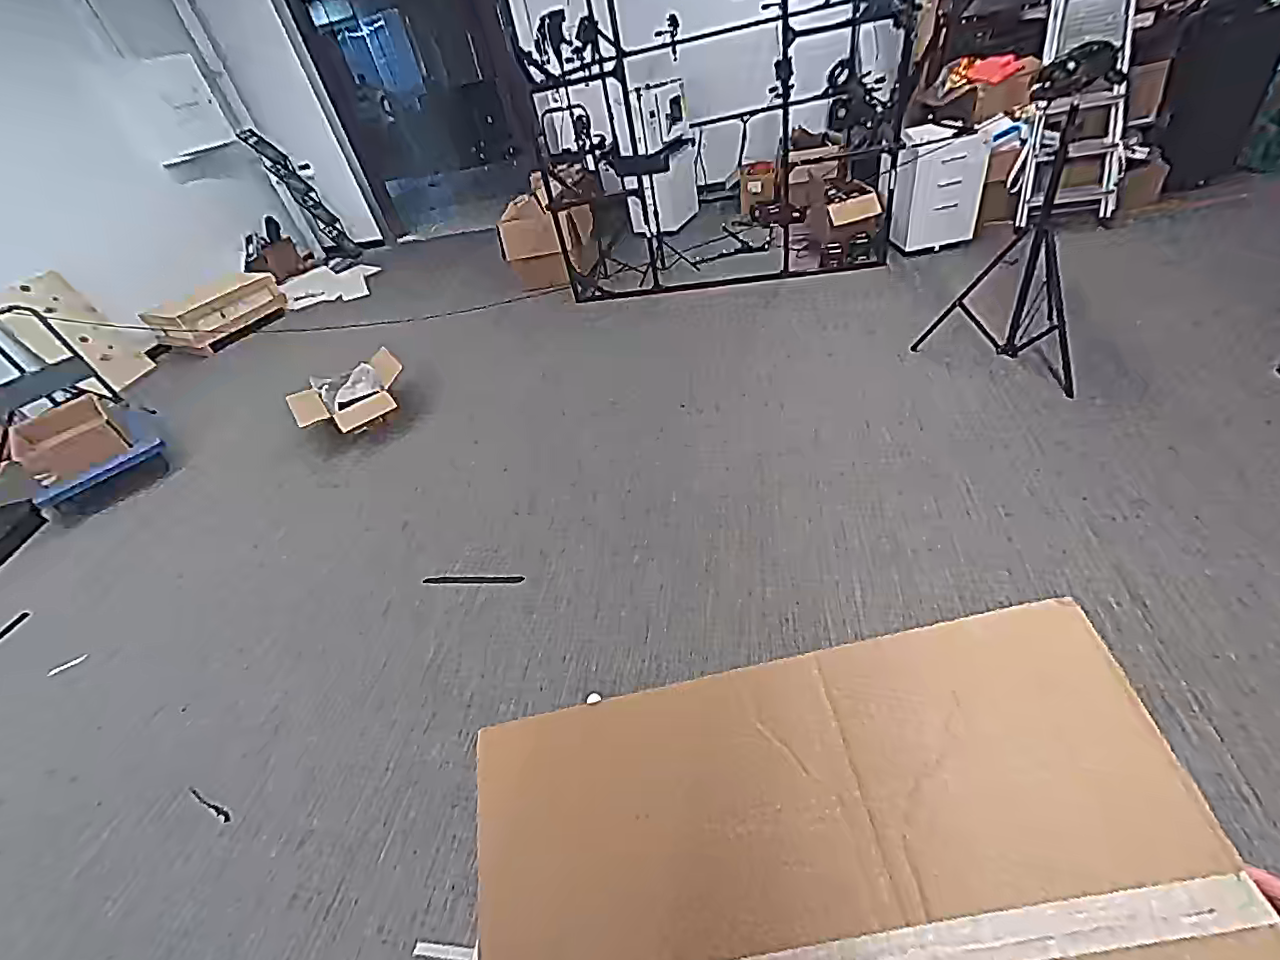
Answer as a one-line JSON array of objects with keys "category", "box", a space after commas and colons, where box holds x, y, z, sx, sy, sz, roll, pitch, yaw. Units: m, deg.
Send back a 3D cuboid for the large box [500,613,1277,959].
[{"category": "large box", "box": [0.146, 0.340, 0.418, 0.408, 0.320, 0.320, -15, 59, 6]}]
